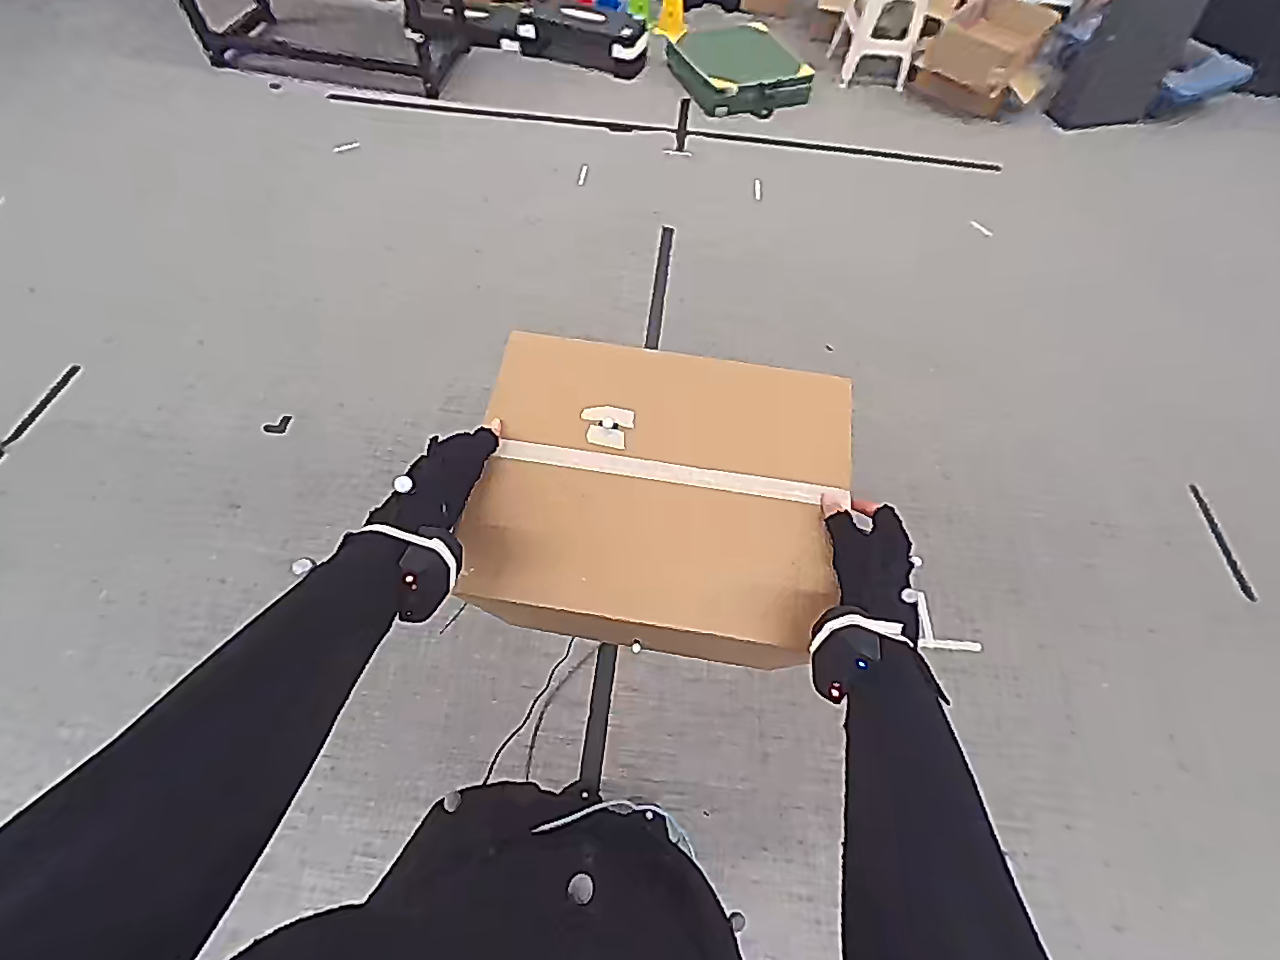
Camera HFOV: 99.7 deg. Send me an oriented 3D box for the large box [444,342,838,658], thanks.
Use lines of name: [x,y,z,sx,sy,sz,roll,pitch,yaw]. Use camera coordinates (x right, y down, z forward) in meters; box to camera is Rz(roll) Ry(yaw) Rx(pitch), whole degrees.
large box: [0.020,0.050,0.731,0.408,0.320,0.320,8,68,4]
